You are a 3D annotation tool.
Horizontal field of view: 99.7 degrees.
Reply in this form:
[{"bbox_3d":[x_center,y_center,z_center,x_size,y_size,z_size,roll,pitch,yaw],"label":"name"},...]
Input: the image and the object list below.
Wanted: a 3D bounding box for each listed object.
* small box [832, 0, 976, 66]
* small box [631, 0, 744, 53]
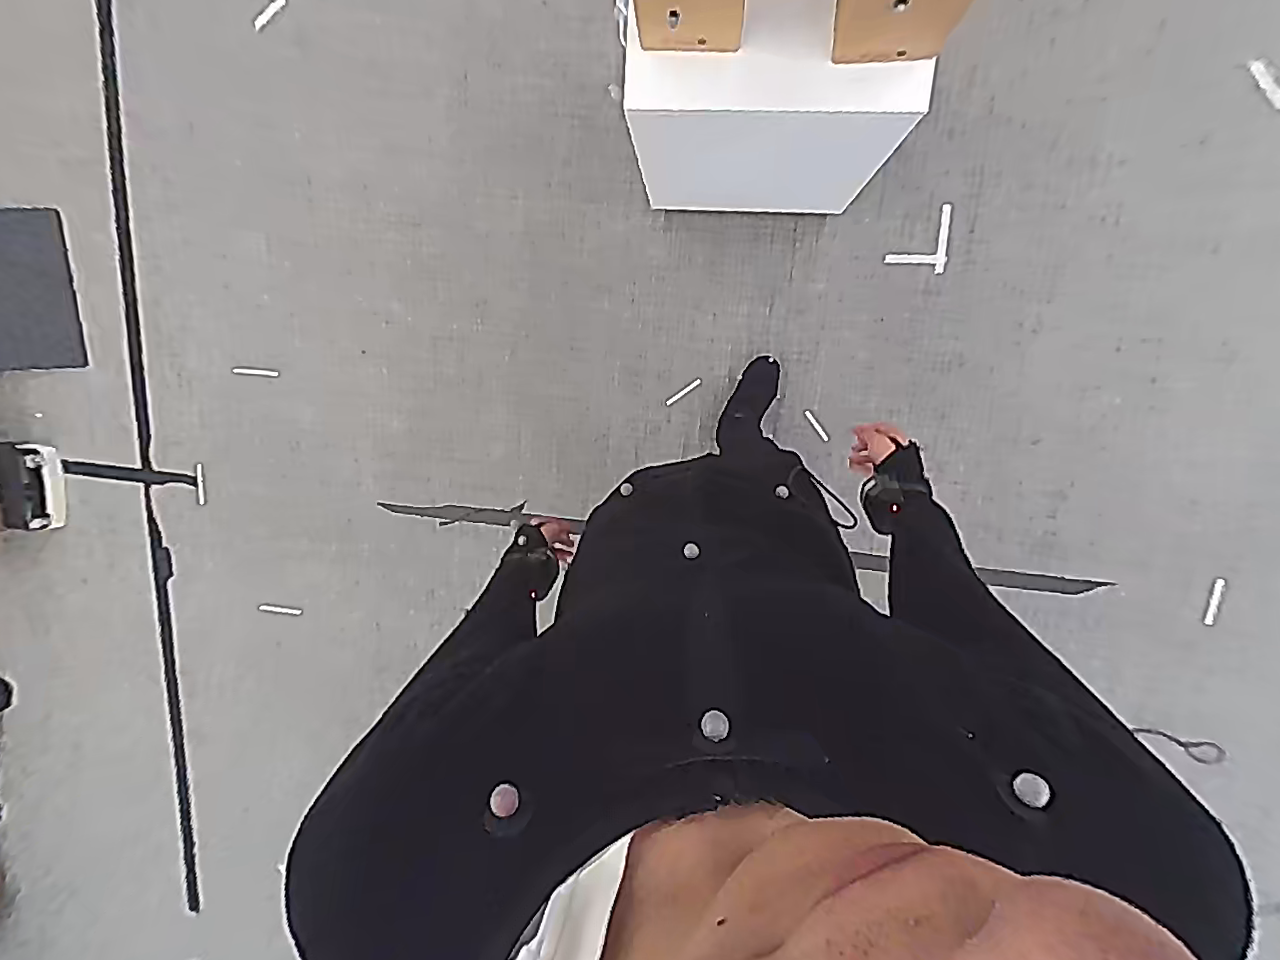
[{"bbox_3d":[0.384,-0.746,0.782,0.168,0.176,0.179,3,100,7],"label":"small box"},{"bbox_3d":[0.079,-0.783,0.812,0.168,0.176,0.179,5,100,5],"label":"small box"}]
